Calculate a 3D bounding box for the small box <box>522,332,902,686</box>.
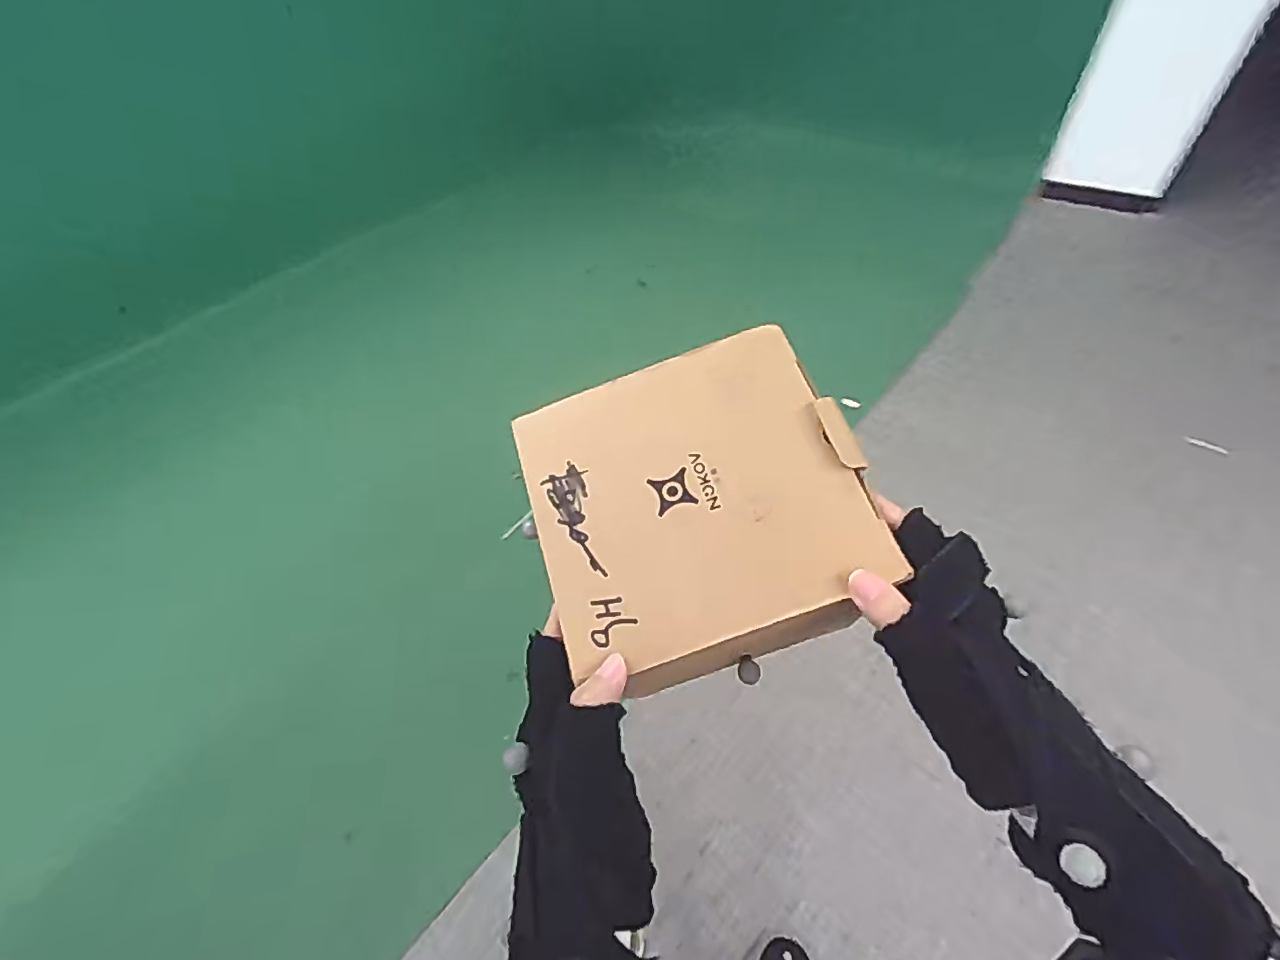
[{"bbox_3d":[0.040,0.035,0.372,0.179,0.176,0.168,-17,65,3],"label":"small box"}]
